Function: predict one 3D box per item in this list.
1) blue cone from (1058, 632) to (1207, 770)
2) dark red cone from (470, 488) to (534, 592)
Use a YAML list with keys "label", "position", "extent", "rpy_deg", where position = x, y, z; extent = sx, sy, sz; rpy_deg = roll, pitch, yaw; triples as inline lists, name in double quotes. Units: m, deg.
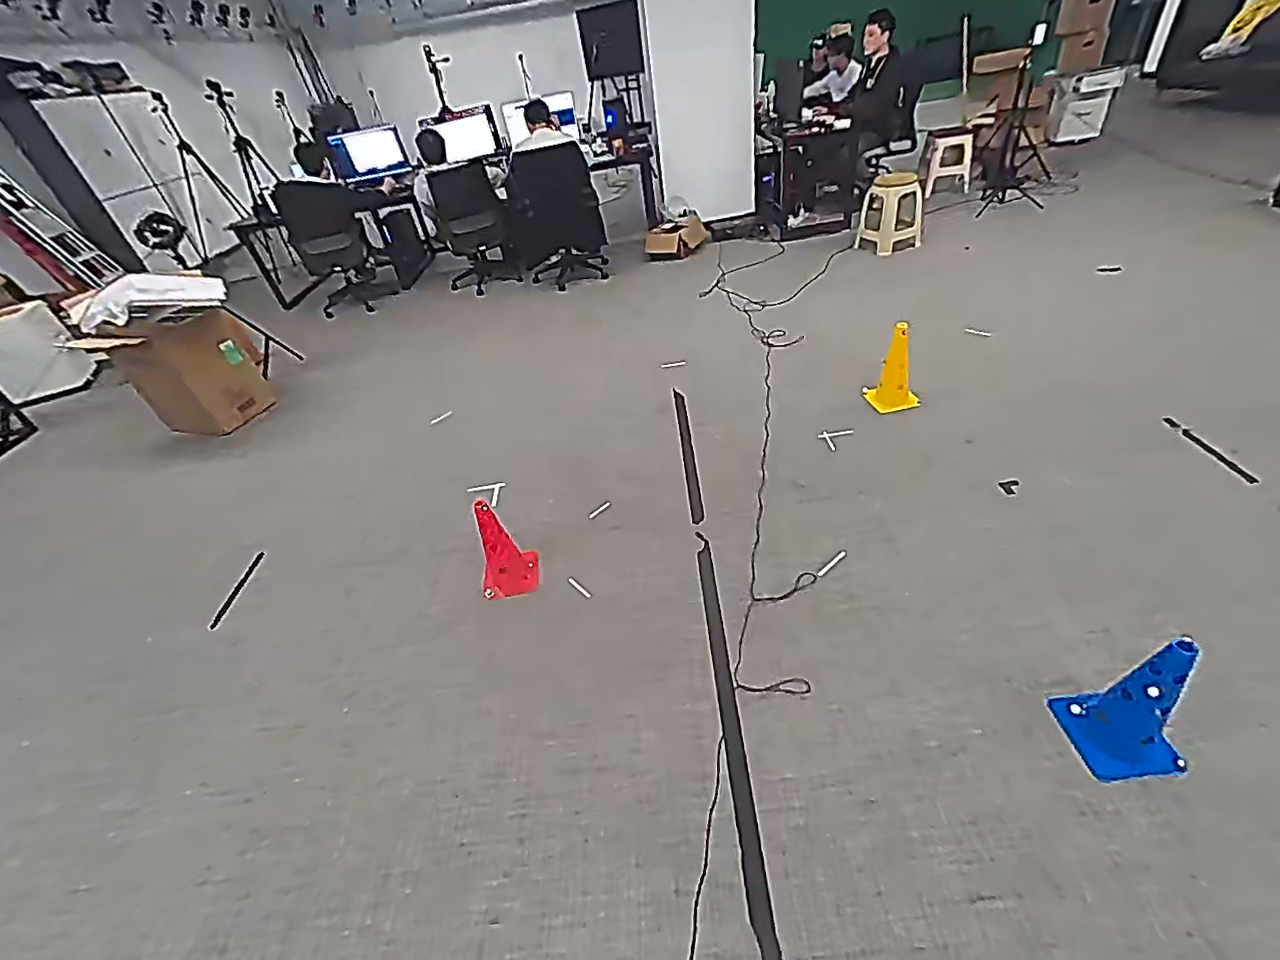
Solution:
- label: "blue cone"
  position: [1.099, 0.455, 1.169]
  extent: [0.192, 0.380, 0.193]
  rpy_deg: [-7, 38, 4]
- label: "dark red cone"
  position: [-0.503, 0.191, 1.850]
  extent: [0.201, 0.394, 0.202]
  rpy_deg: [-12, 38, -3]
